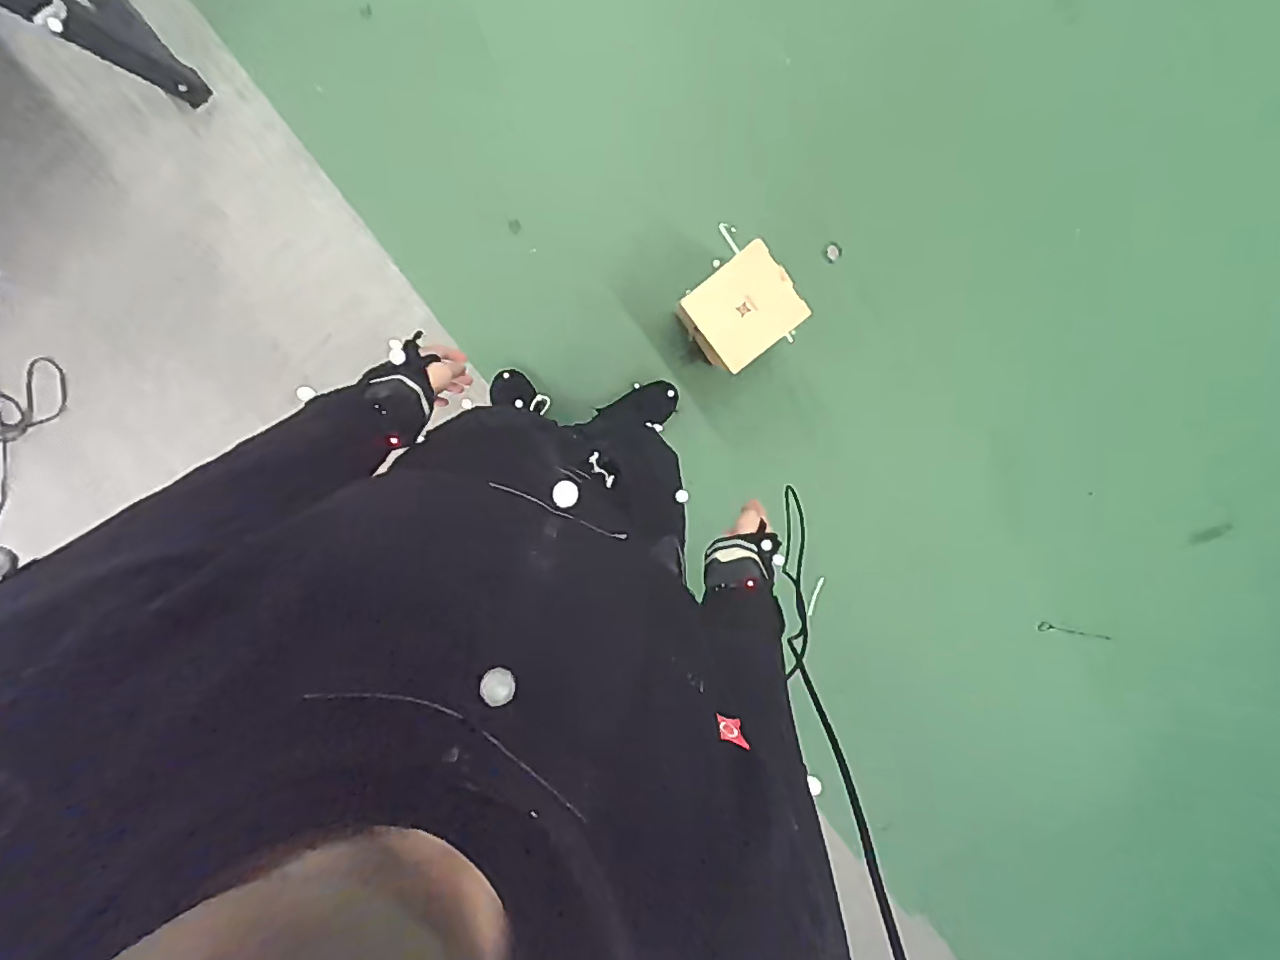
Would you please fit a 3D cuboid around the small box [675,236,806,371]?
[{"bbox_3d":[0.181,-0.329,1.034,0.179,0.176,0.168,-38,102,9],"label":"small box"}]
